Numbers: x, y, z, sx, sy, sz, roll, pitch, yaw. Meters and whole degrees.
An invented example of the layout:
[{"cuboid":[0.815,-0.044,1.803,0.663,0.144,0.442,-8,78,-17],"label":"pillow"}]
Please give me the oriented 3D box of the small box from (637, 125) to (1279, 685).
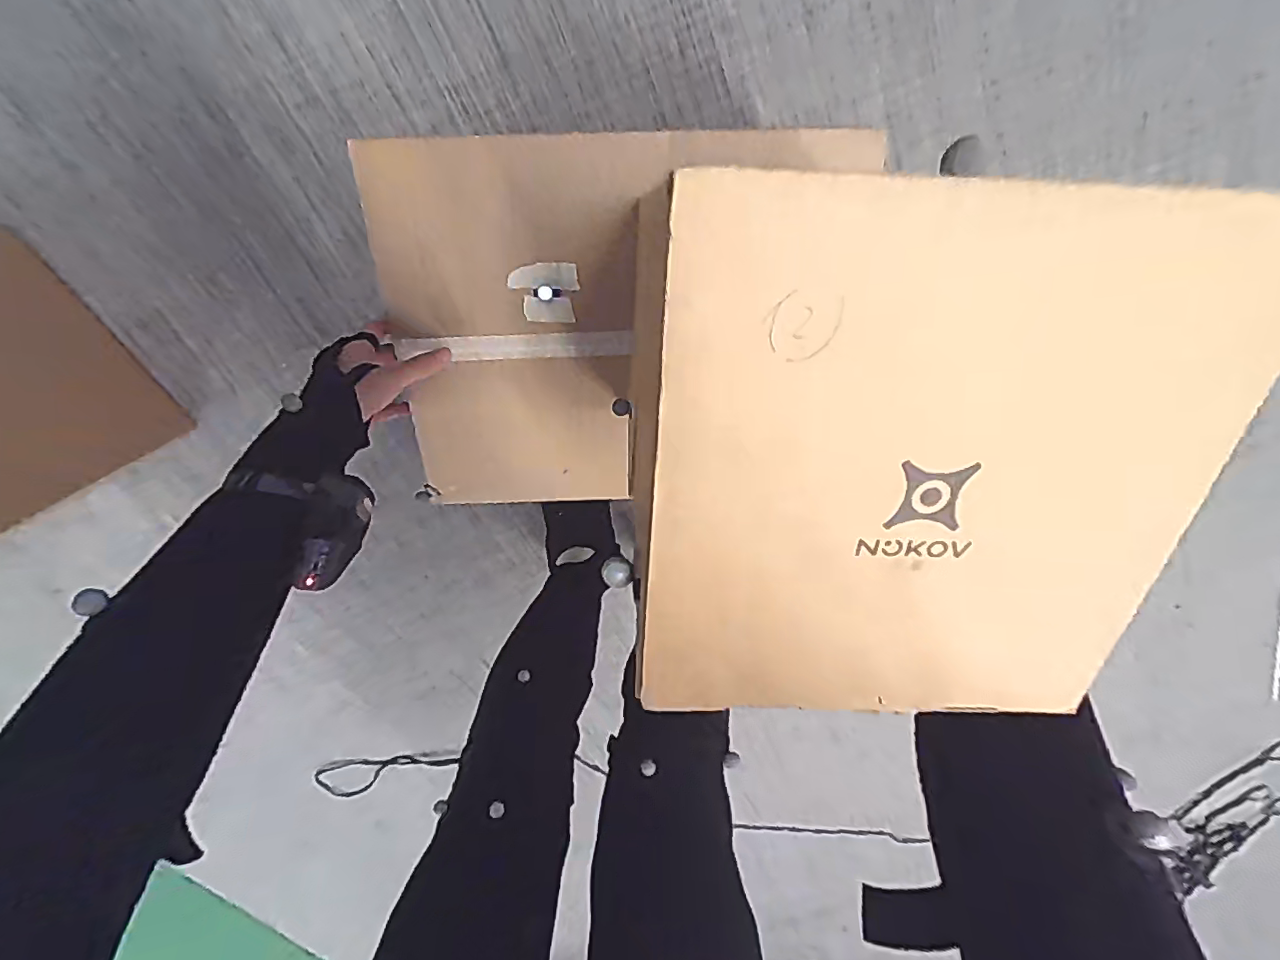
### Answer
[{"cuboid":[0.085,-0.037,0.235,0.168,0.176,0.179,1,118,-2],"label":"small box"}]
